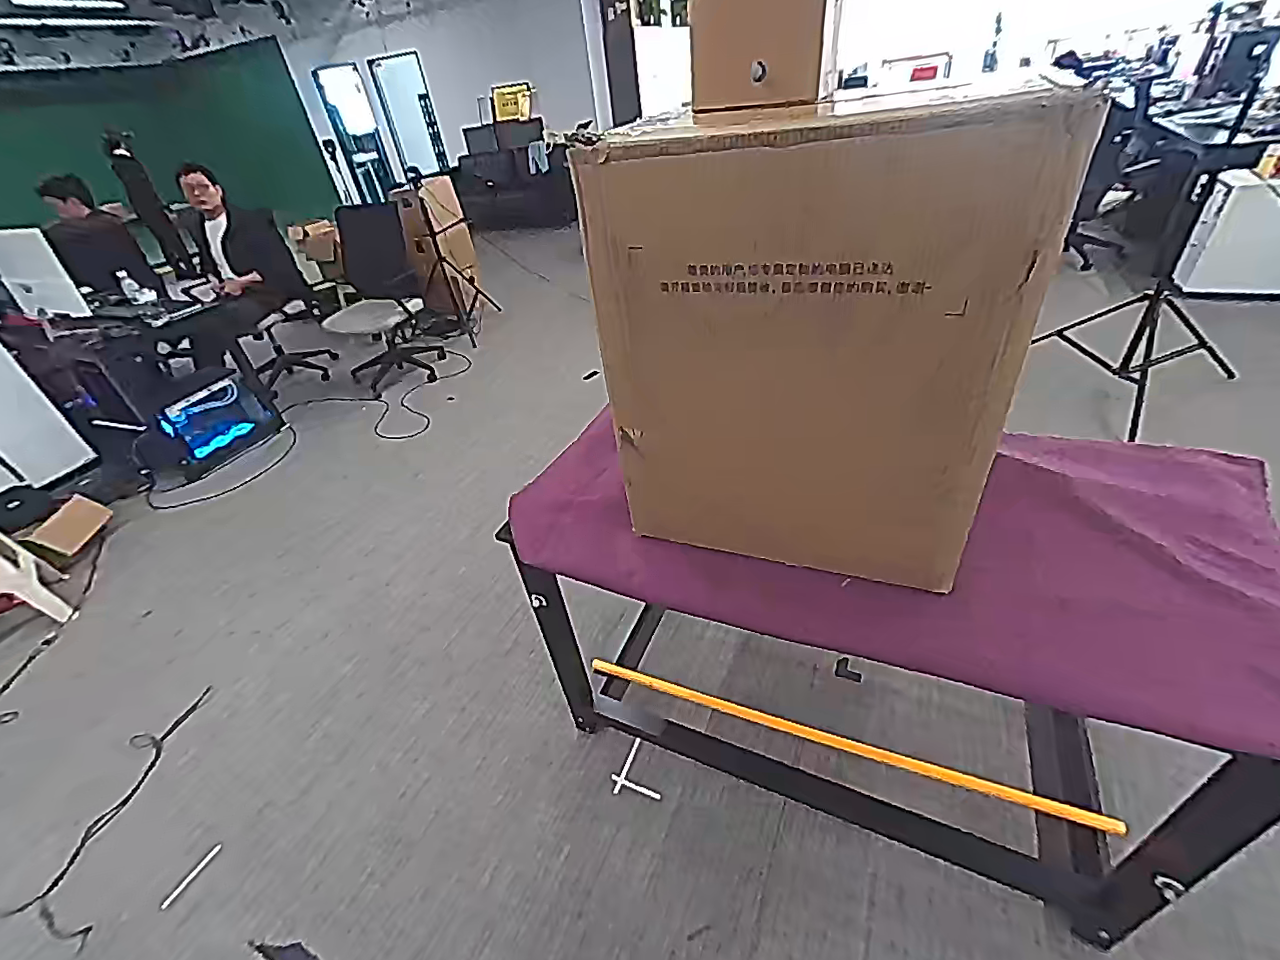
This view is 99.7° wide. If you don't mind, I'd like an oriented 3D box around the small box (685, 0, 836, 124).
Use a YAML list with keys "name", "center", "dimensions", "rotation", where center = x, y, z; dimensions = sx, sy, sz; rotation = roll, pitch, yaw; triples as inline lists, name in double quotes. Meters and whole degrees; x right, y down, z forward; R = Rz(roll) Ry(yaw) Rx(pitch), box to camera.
- name: "small box"
  center: [0.167, -0.604, 0.745]
  dimensions: [0.179, 0.176, 0.168]
  rotation: [10, 40, 23]
